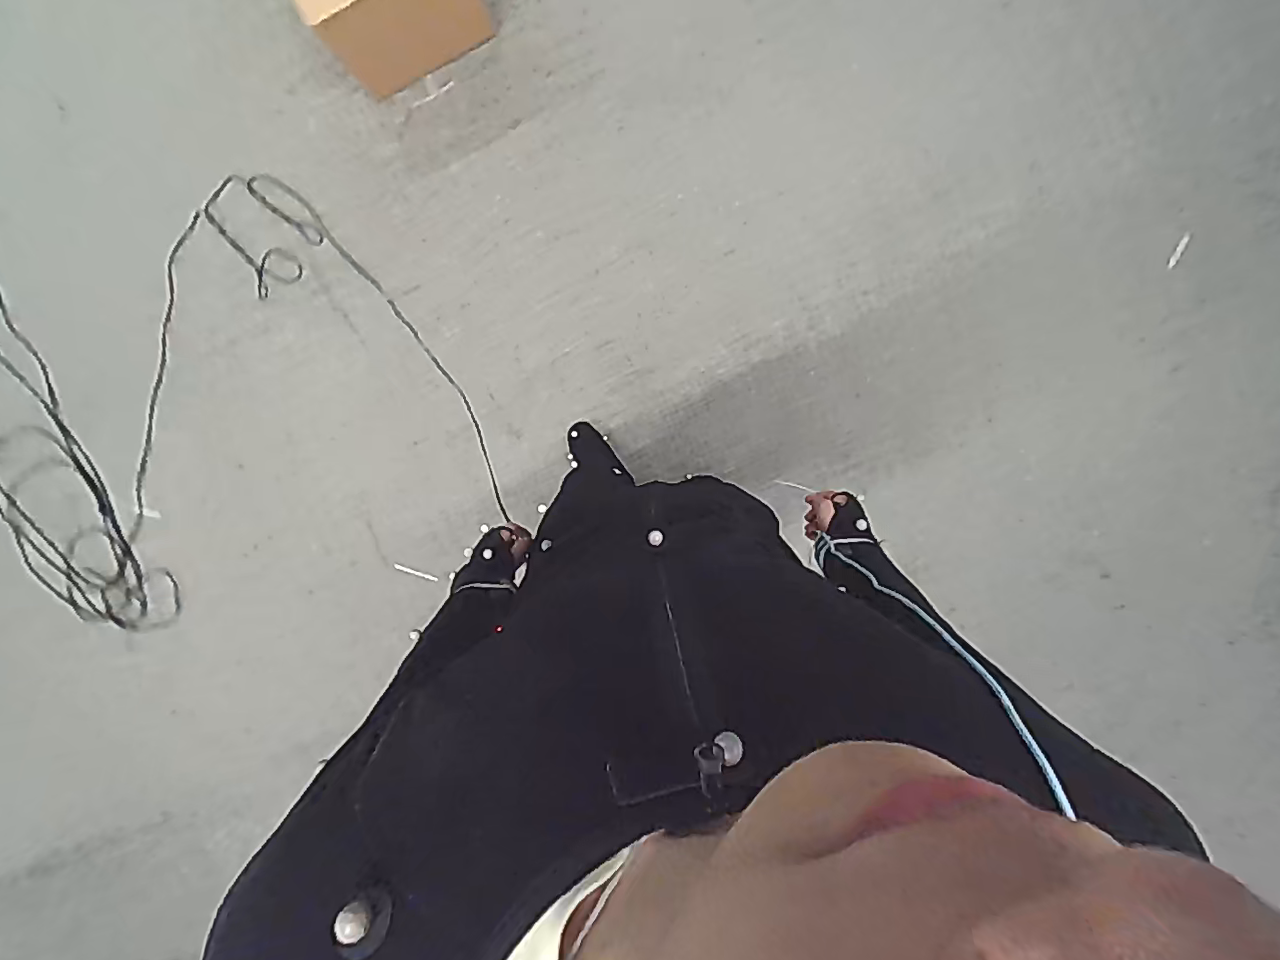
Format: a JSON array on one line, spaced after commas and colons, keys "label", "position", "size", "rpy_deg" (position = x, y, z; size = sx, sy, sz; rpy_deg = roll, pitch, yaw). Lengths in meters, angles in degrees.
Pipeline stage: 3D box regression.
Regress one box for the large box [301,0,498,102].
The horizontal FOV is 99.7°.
[{"label": "large box", "position": [-0.644, -1.286, 1.380], "size": [0.408, 0.320, 0.320], "rpy_deg": [-26, 95, 4]}]
